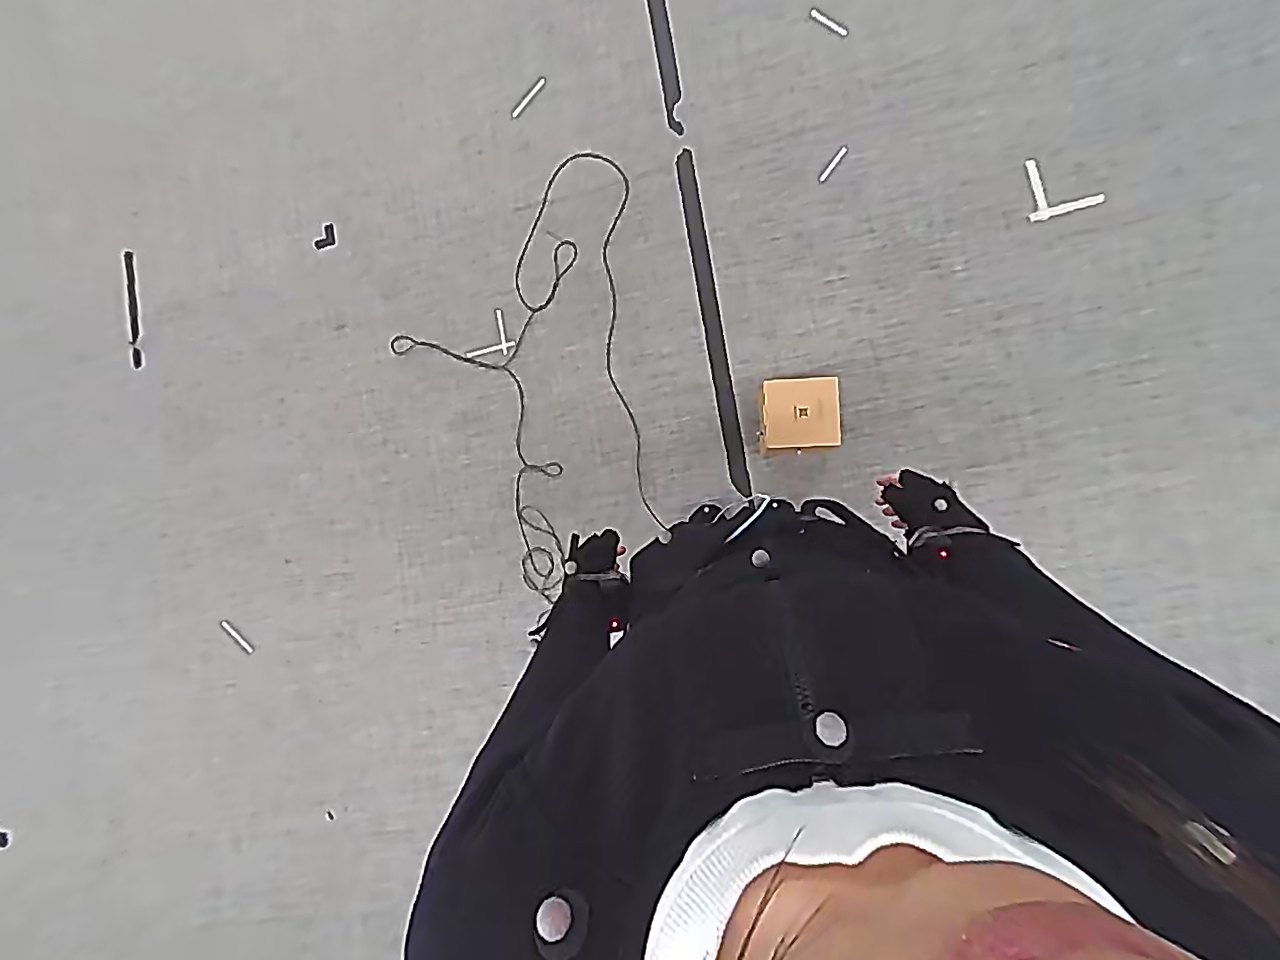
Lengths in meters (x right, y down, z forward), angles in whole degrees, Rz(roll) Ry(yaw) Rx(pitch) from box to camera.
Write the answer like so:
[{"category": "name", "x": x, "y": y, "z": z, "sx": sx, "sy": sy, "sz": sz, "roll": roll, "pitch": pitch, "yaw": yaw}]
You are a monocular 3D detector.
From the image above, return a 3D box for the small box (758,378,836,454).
[{"category": "small box", "x": 0.394, "y": -0.158, "z": 1.382, "sx": 0.179, "sy": 0.176, "sz": 0.168, "roll": -2, "pitch": 87, "yaw": 8}]
